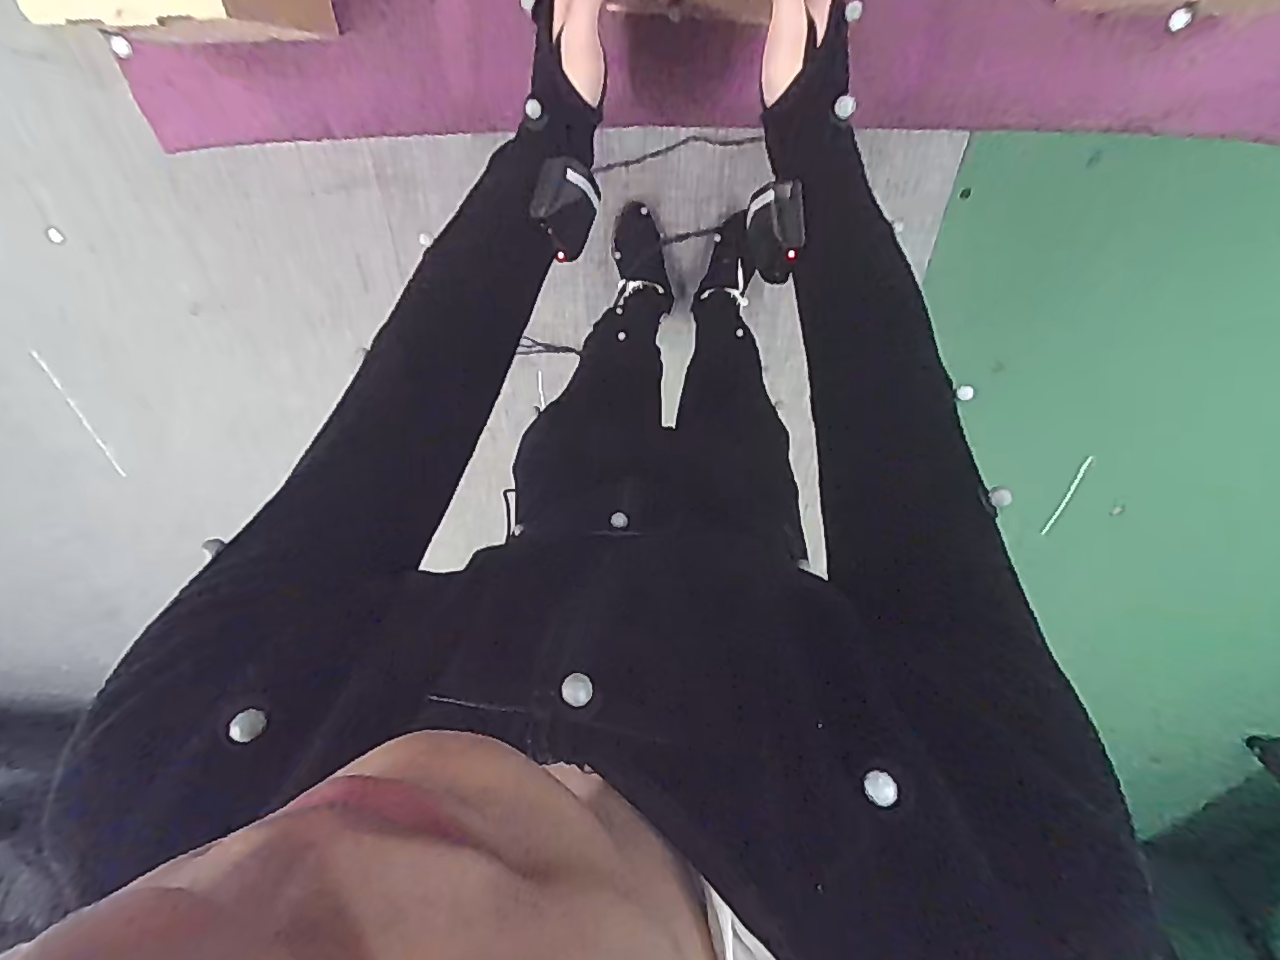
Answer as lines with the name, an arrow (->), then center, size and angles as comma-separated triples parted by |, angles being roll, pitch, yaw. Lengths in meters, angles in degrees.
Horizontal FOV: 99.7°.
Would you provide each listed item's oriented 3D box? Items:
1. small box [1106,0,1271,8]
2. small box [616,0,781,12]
small box -> 0.455, -0.457, 0.374 | 0.168, 0.176, 0.179 | 5, 126, 3
small box -> 0.045, -0.475, 0.401 | 0.168, 0.176, 0.179 | 4, 127, 1
